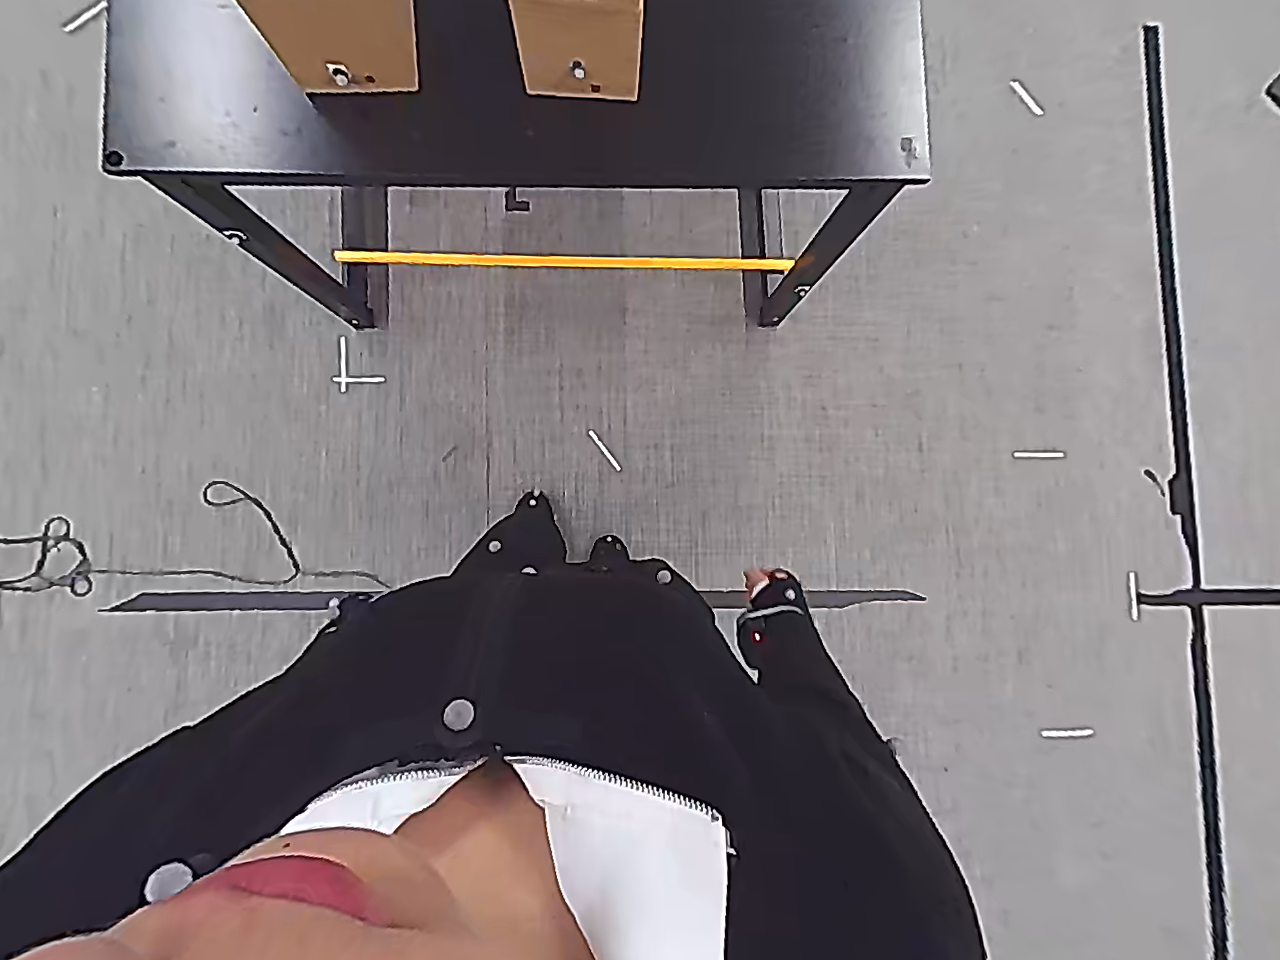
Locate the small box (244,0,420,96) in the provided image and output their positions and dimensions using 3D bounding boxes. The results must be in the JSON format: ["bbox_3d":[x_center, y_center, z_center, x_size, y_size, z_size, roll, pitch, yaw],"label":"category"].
[{"bbox_3d":[-0.405,-0.653,0.713,0.168,0.176,0.179,-5,88,-3],"label":"small box"}]

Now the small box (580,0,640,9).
[{"bbox_3d":[-0.069,-0.651,0.567,0.168,0.176,0.179,4,87,-3],"label":"small box"}]

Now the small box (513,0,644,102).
[{"bbox_3d":[-0.079,-0.661,0.731,0.168,0.176,0.179,2,87,-3],"label":"small box"}]
